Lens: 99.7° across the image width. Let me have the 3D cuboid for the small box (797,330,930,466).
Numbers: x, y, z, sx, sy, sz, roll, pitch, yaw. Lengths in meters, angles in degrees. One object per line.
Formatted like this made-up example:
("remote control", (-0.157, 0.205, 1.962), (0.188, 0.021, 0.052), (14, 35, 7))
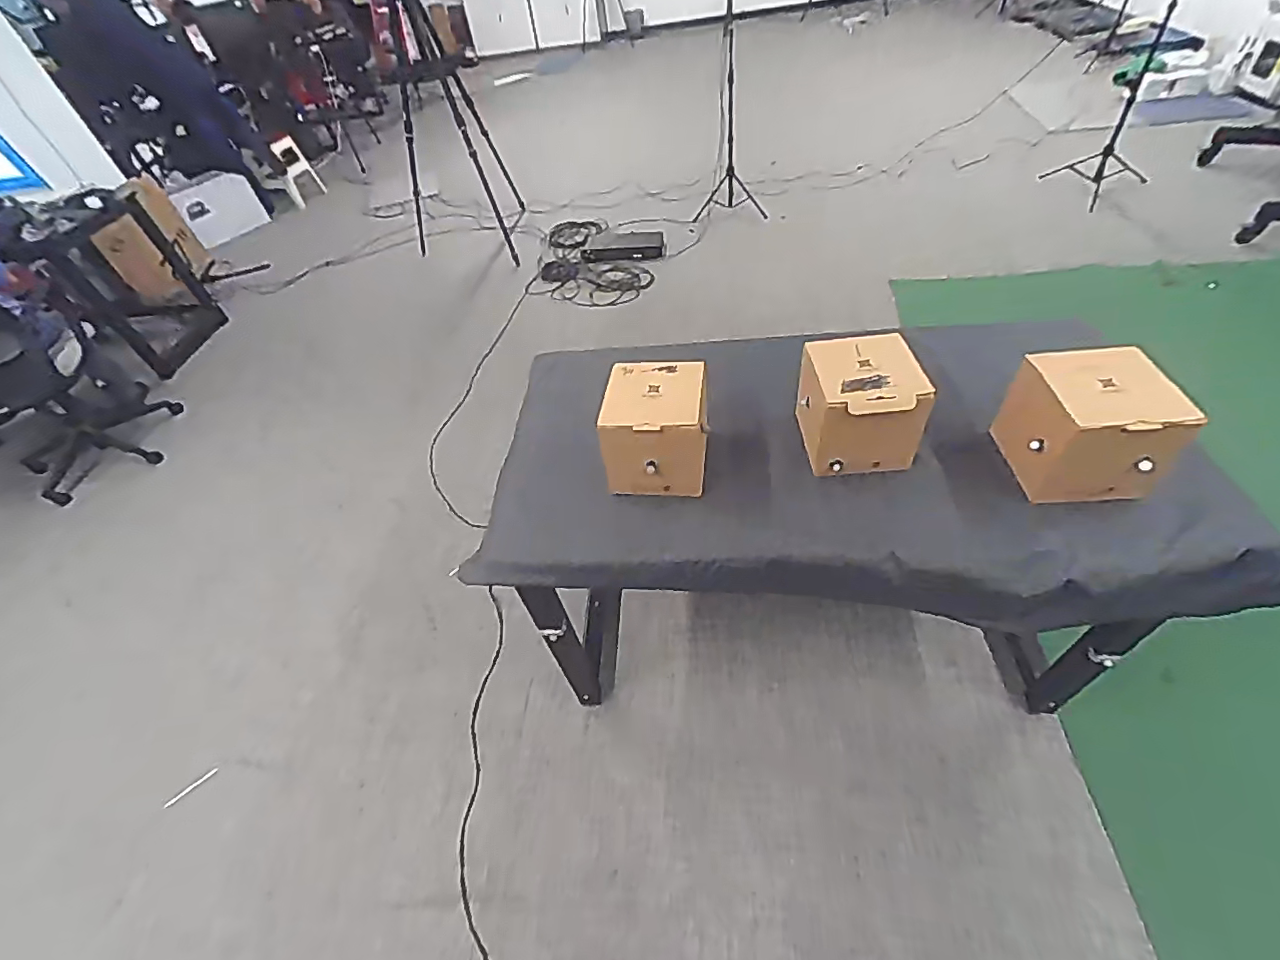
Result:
("small box", (0.378, -0.137, 0.952), (0.168, 0.176, 0.179), (-5, 47, 5))

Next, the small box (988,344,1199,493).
("small box", (0.696, -0.091, 0.859), (0.168, 0.176, 0.179), (-3, 47, 6))

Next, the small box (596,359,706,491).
("small box", (0.030, -0.096, 0.973), (0.168, 0.176, 0.179), (1, 48, 10))
